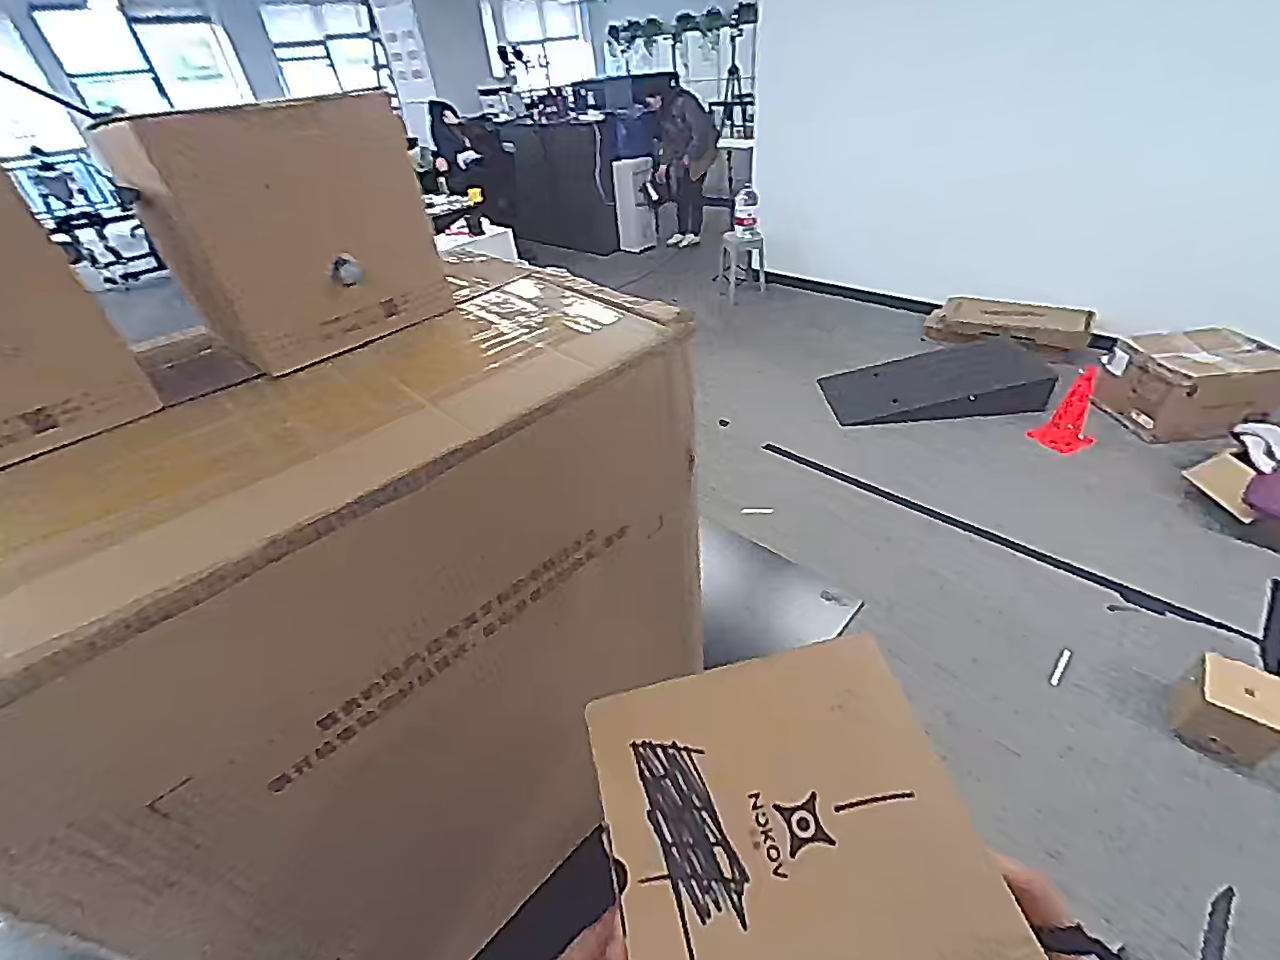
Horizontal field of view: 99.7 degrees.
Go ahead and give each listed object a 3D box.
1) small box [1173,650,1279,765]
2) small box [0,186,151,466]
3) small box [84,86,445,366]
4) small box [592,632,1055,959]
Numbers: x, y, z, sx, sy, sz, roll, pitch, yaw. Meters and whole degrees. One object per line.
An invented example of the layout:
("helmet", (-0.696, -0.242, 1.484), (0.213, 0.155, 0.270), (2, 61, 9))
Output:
("small box", (1.519, 0.584, 1.388), (0.168, 0.176, 0.179), (22, 47, 32))
("small box", (-0.460, -0.102, 0.335), (0.179, 0.176, 0.168), (24, 46, 34))
("small box", (-0.297, -0.210, 0.451), (0.179, 0.176, 0.168), (25, 48, 36))
("small box", (0.081, 0.218, 0.322), (0.179, 0.176, 0.168), (-13, 51, -4))
